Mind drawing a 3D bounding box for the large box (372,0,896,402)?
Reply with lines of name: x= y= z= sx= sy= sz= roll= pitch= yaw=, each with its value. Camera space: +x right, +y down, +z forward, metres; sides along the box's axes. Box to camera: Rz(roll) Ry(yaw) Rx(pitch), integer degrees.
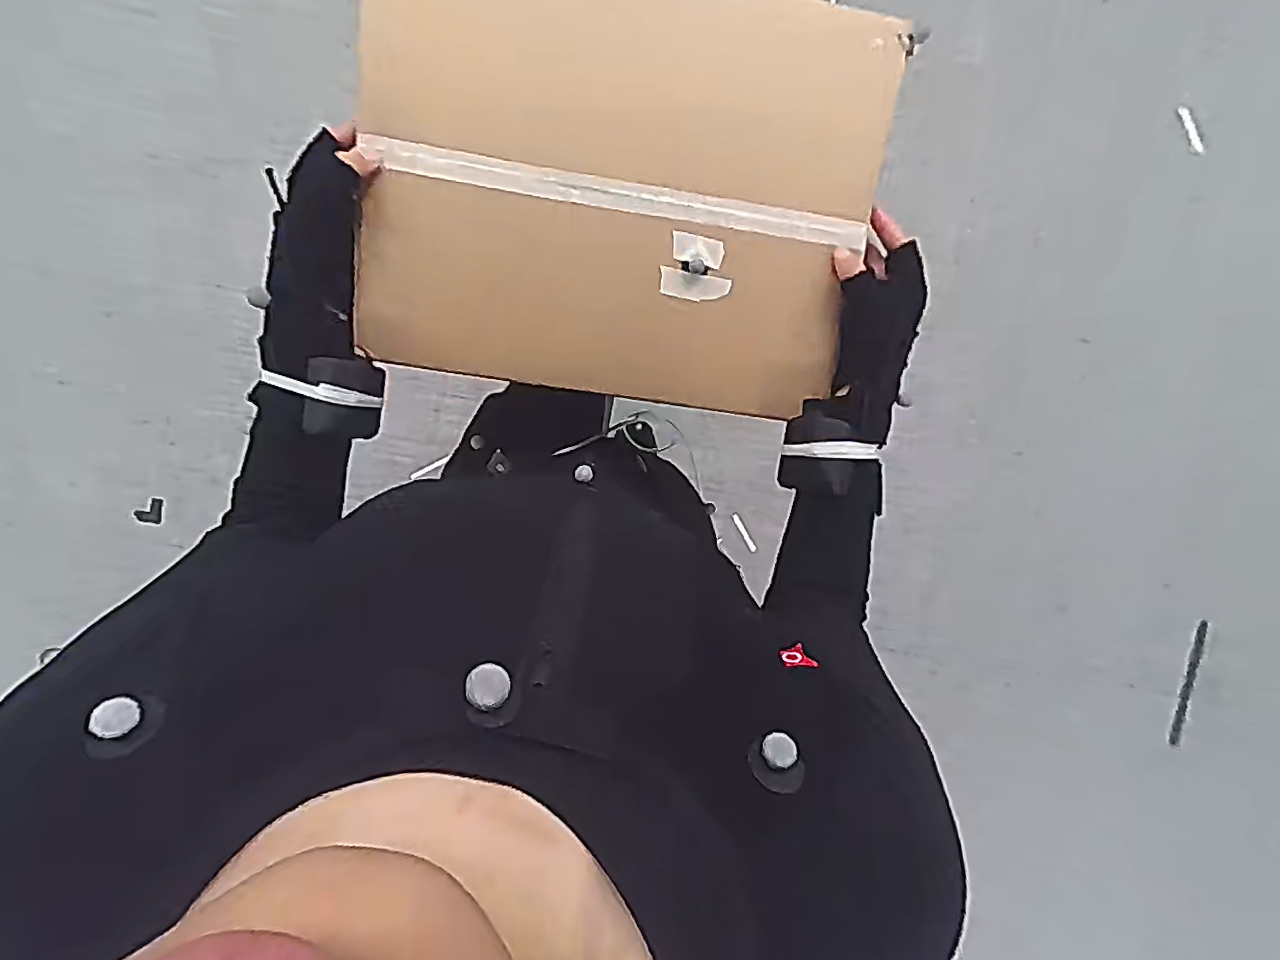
large box: x=-0.024 y=-0.273 z=0.583 sx=0.408 sy=0.320 sz=0.320 roll=7 pitch=105 yaw=-6
